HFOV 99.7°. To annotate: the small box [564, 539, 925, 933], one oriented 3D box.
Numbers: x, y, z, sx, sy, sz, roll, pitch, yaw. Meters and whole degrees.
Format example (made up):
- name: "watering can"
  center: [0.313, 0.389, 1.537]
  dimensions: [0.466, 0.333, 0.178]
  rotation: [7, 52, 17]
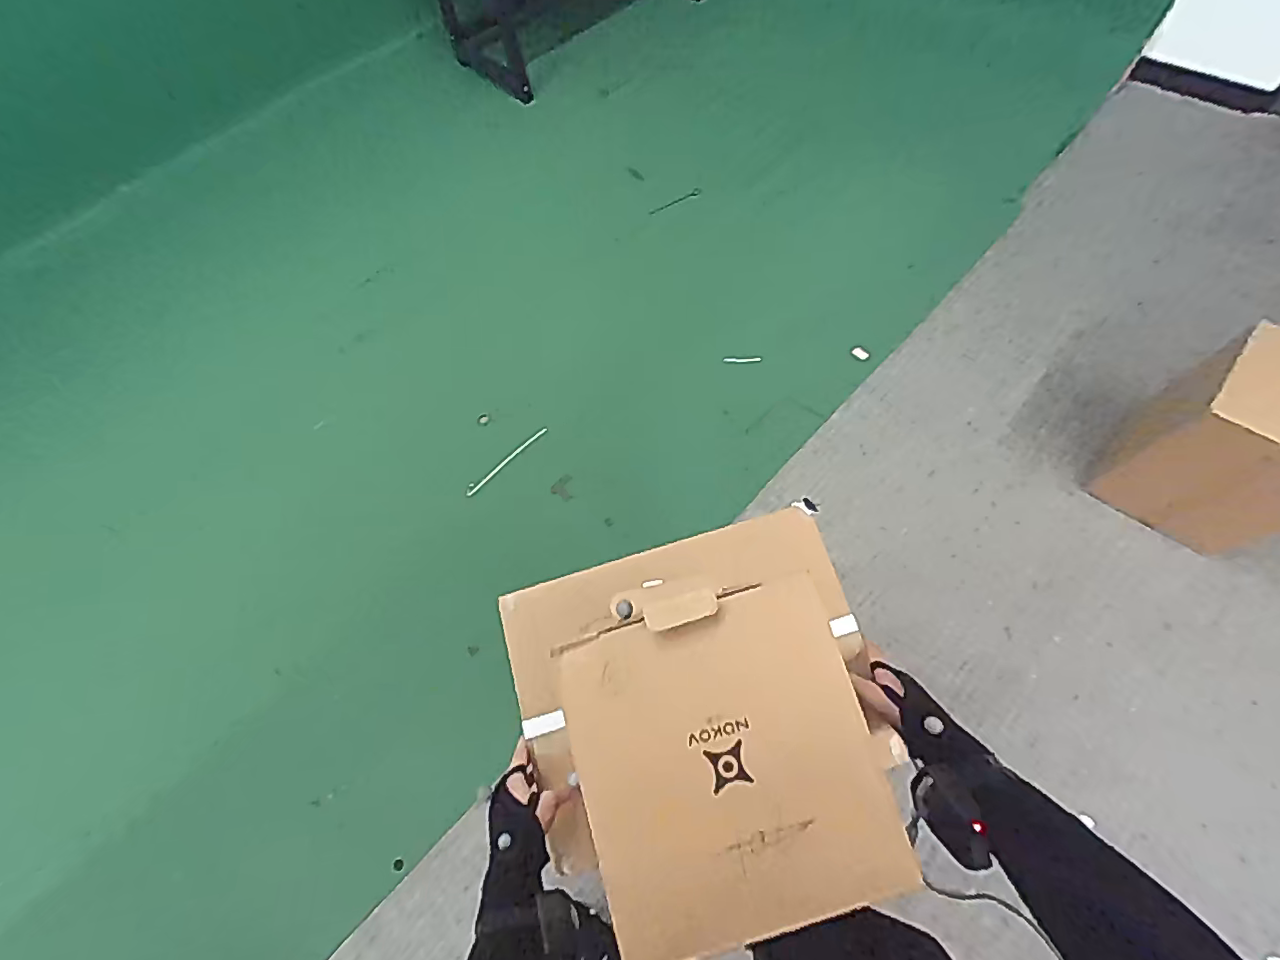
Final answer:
- name: "small box"
  center: [0.055, 0.155, 0.382]
  dimensions: [0.168, 0.176, 0.179]
  rotation: [-16, 77, -1]
